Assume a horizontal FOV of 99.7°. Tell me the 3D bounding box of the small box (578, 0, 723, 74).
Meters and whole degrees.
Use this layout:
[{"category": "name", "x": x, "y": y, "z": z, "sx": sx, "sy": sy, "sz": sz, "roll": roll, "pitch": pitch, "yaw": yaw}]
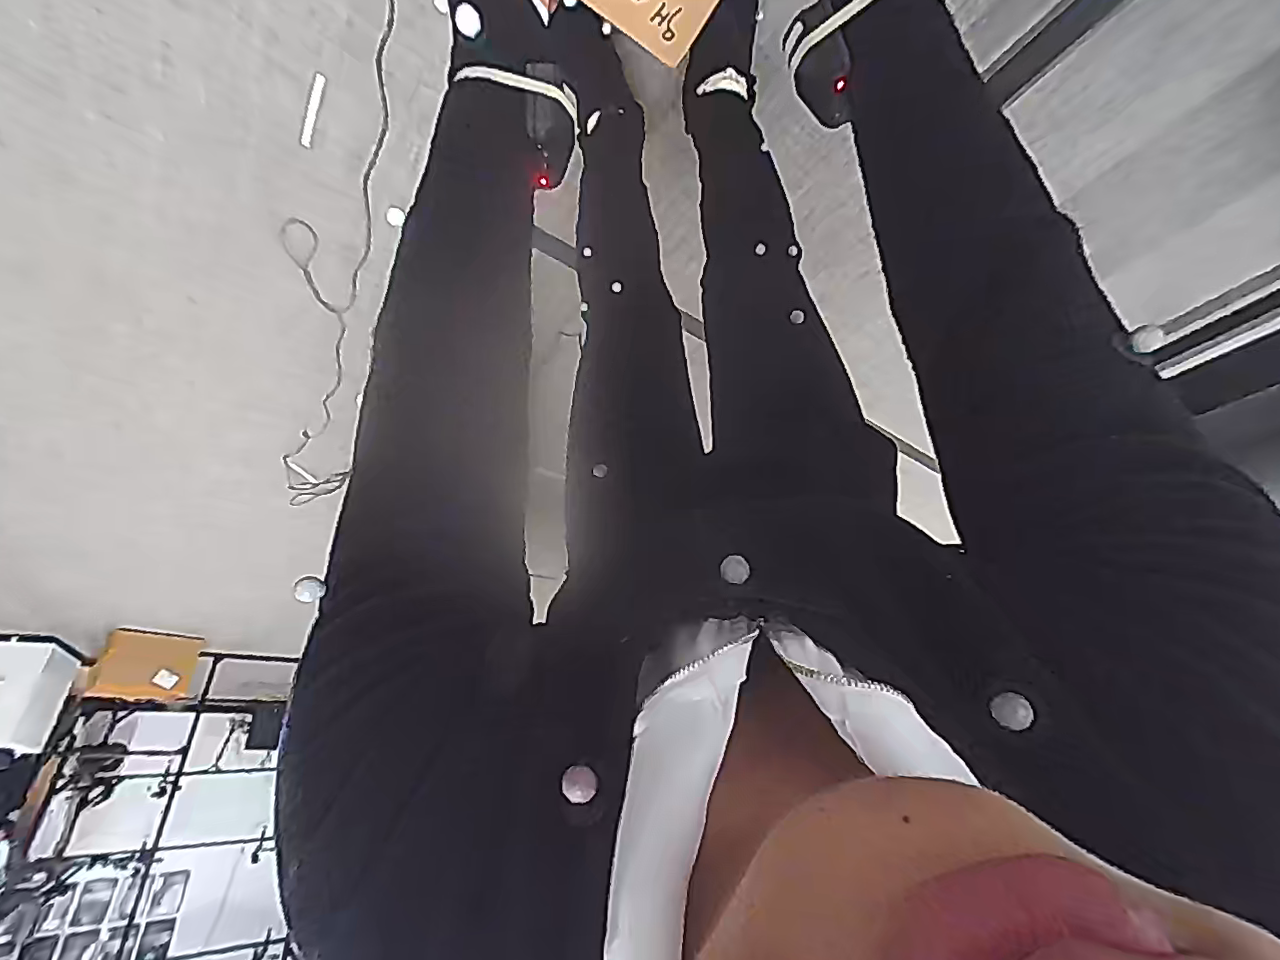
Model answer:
[{"category": "small box", "x": 0.006, "y": -0.489, "z": 0.424, "sx": 0.168, "sy": 0.176, "sz": 0.179, "roll": 15, "pitch": 144, "yaw": -30}]
